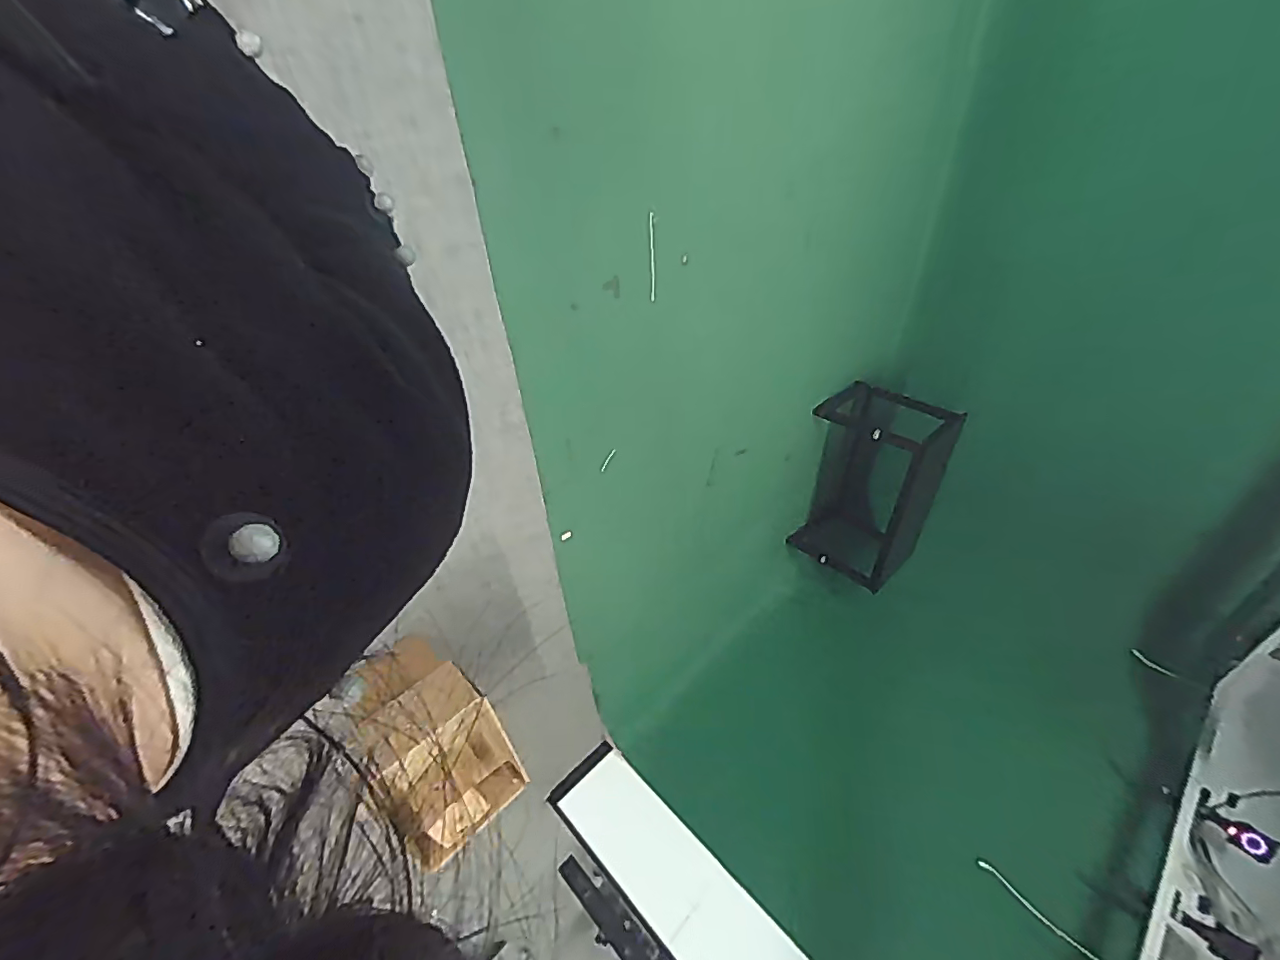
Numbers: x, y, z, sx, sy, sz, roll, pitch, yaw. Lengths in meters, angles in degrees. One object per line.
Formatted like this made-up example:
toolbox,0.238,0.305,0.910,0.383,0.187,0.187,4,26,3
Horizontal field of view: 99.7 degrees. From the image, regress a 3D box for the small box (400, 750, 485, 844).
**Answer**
small box,-0.628,0.996,1.715,0.168,0.176,0.179,-37,137,-27
